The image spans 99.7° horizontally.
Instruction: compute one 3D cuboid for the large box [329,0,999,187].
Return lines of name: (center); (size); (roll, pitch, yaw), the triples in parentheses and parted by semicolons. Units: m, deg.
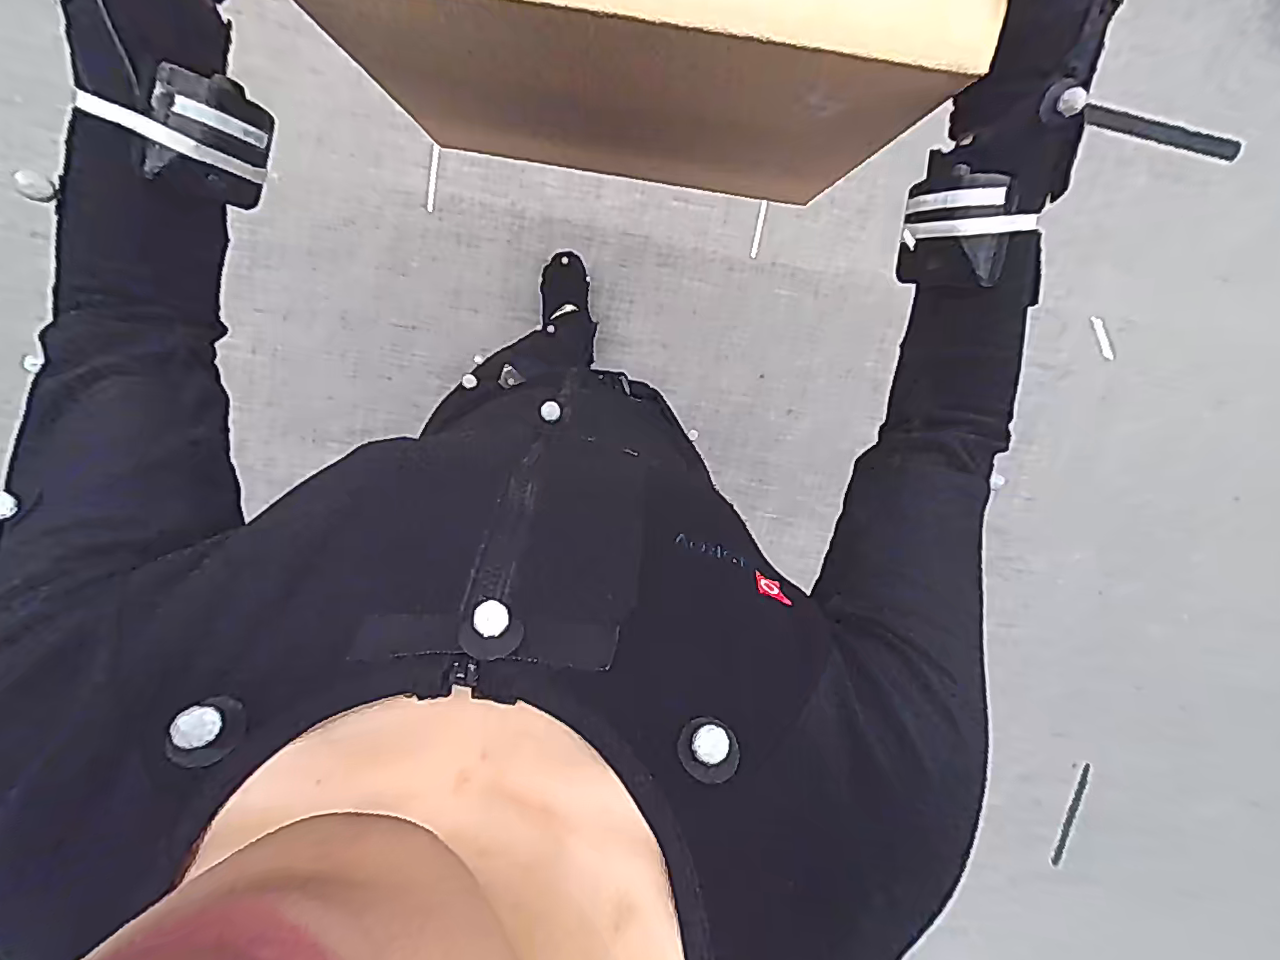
large box: (0.010, -0.446, 0.400); (0.408, 0.320, 0.320); (6, 105, -4)
